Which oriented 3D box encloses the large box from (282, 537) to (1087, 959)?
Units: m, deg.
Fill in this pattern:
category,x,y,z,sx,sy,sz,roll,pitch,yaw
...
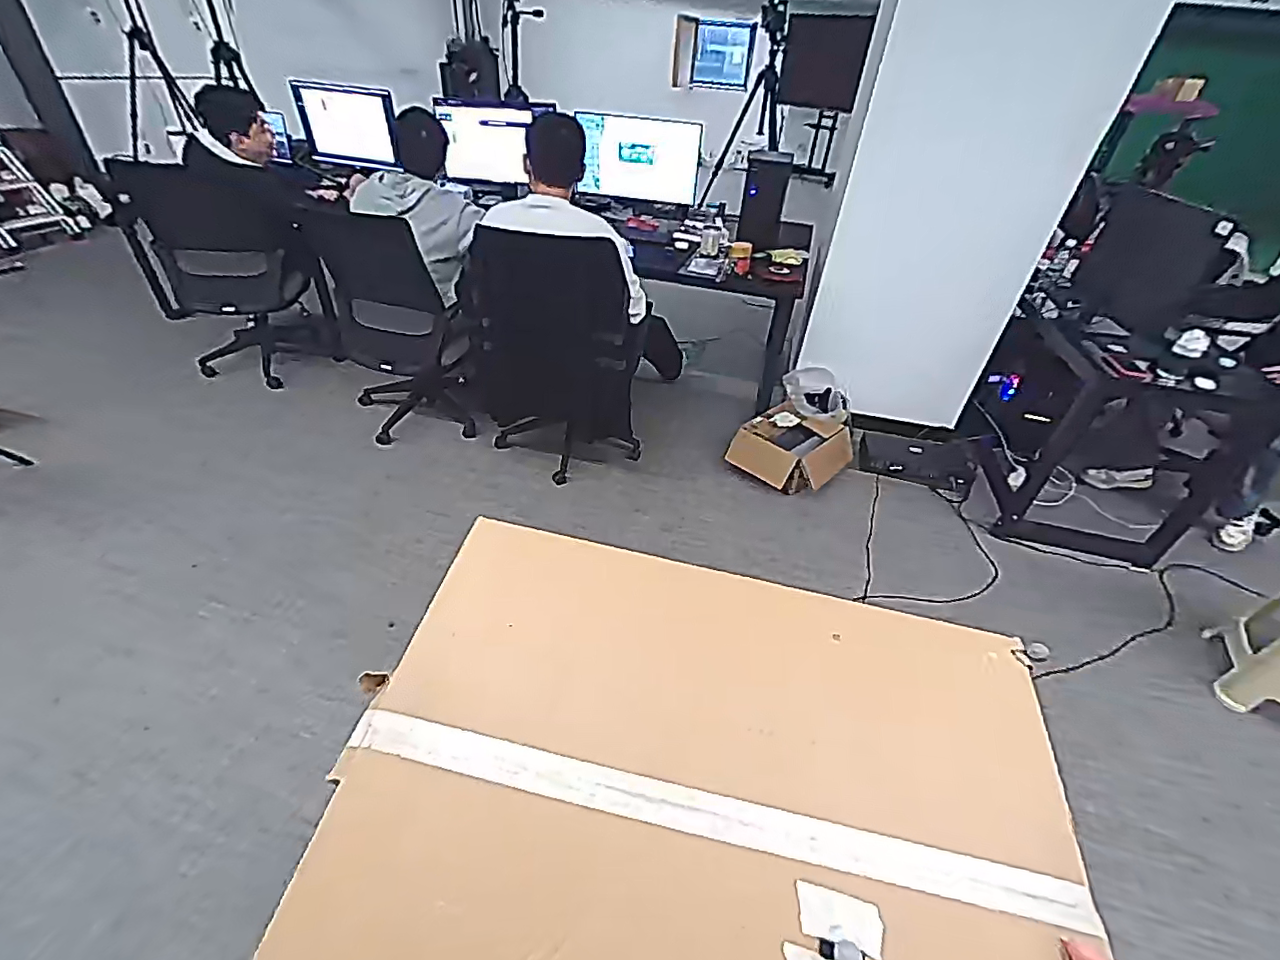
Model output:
category,x,y,z,sx,sy,sz,roll,pitch,yaw
large box,0.028,0.289,0.421,0.408,0.320,0.320,12,50,4
